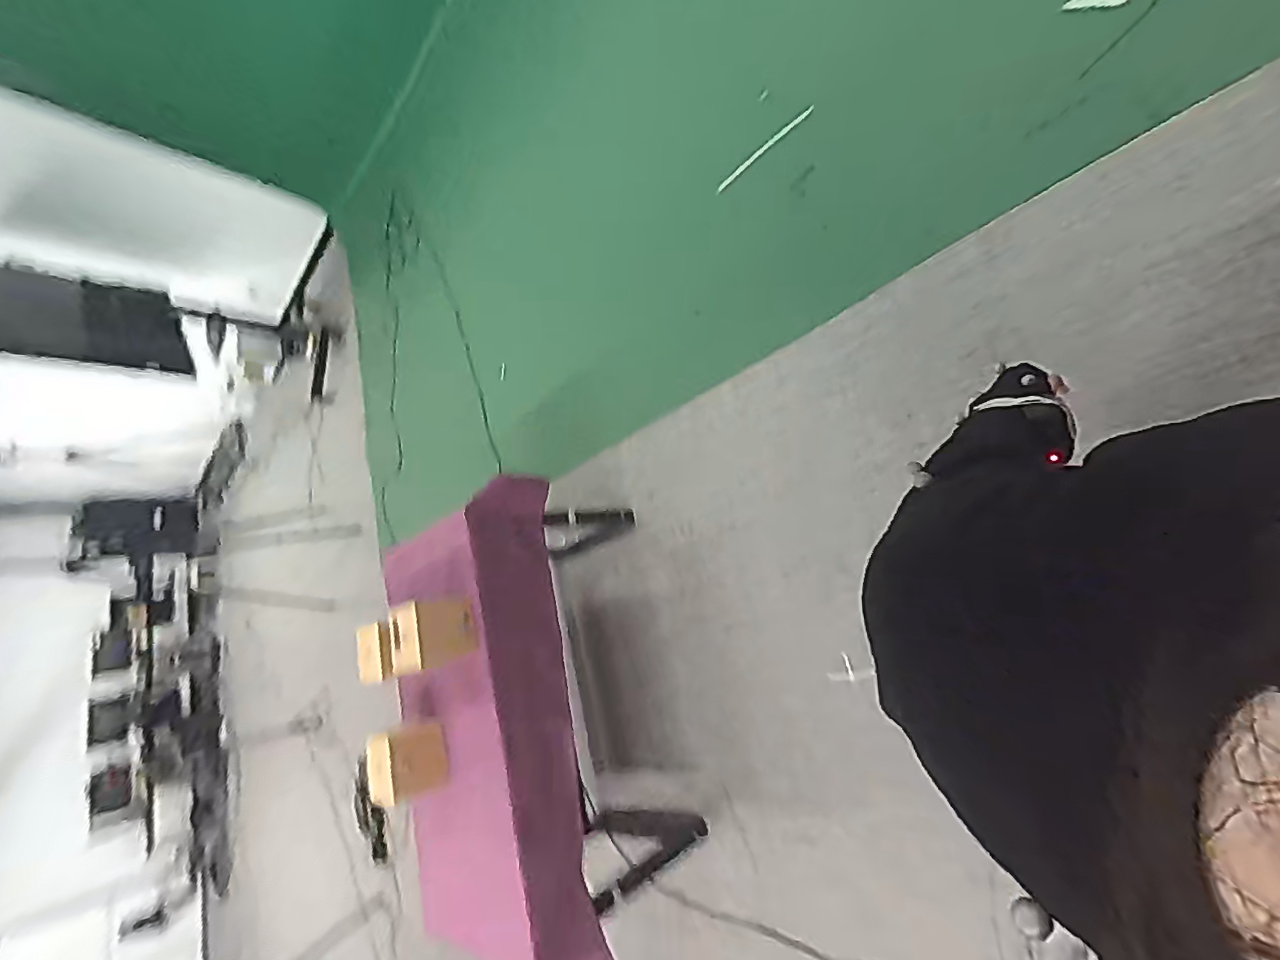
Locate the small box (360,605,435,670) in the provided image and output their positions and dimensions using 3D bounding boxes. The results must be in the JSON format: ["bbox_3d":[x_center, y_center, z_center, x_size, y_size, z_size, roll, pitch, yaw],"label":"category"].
[{"bbox_3d":[-0.763,0.497,1.710,0.179,0.176,0.168,-21,74,41],"label":"small box"}]

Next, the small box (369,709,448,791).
[{"bbox_3d":[-0.698,0.809,1.634,0.168,0.176,0.179,-21,73,40],"label":"small box"}]
